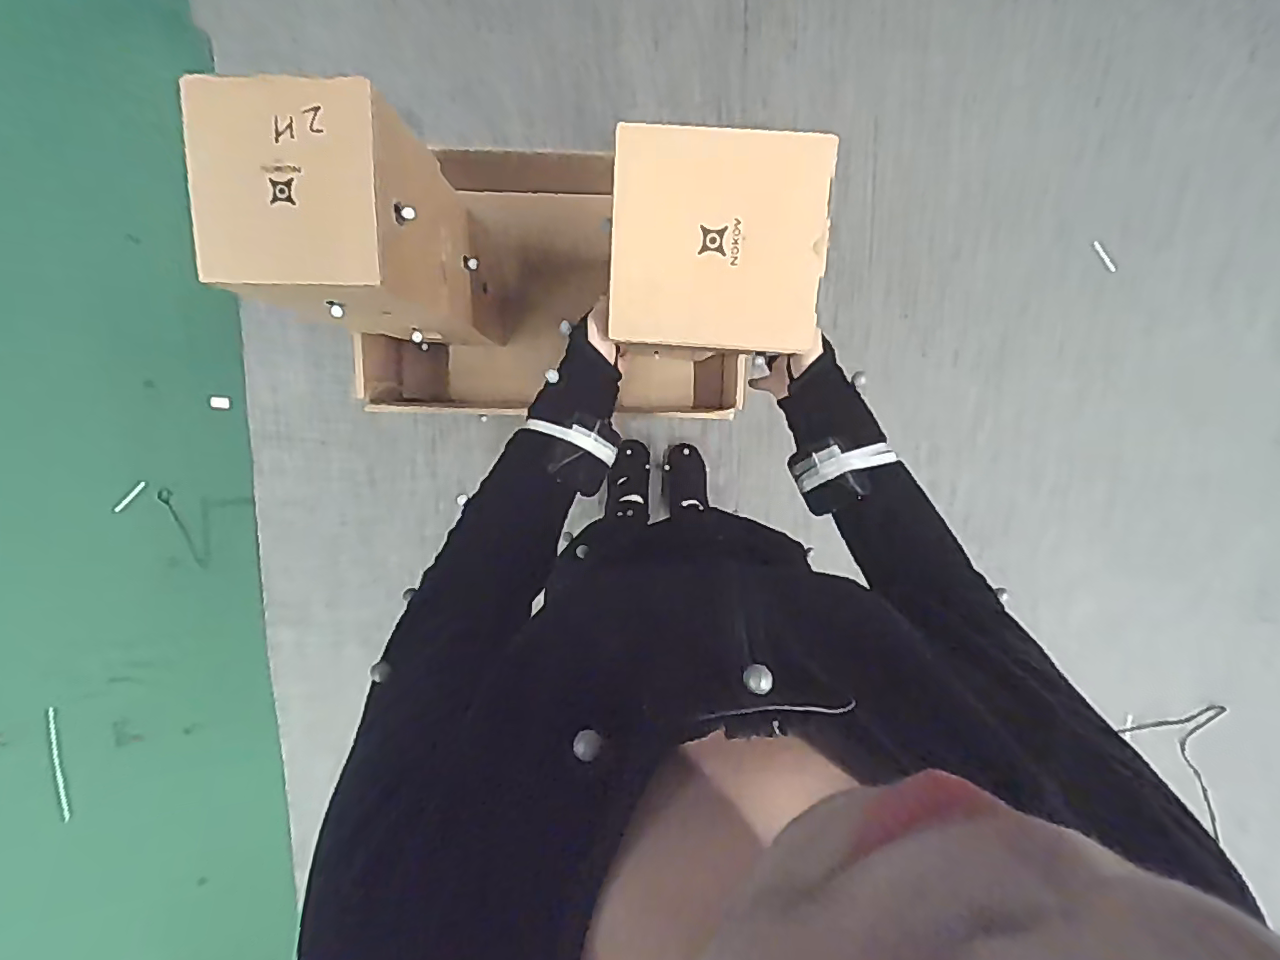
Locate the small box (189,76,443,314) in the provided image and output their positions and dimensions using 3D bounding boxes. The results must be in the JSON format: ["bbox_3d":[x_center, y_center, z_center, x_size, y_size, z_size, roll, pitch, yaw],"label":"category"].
[{"bbox_3d":[-0.315,-0.275,0.562,0.168,0.176,0.179,2,97,0],"label":"small box"}]

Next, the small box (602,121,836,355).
[{"bbox_3d":[0.061,-0.209,0.511,0.179,0.176,0.168,3,102,0],"label":"small box"}]

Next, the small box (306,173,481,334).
[{"bbox_3d":[-0.318,-0.292,0.726,0.179,0.176,0.168,0,97,0],"label":"small box"}]
